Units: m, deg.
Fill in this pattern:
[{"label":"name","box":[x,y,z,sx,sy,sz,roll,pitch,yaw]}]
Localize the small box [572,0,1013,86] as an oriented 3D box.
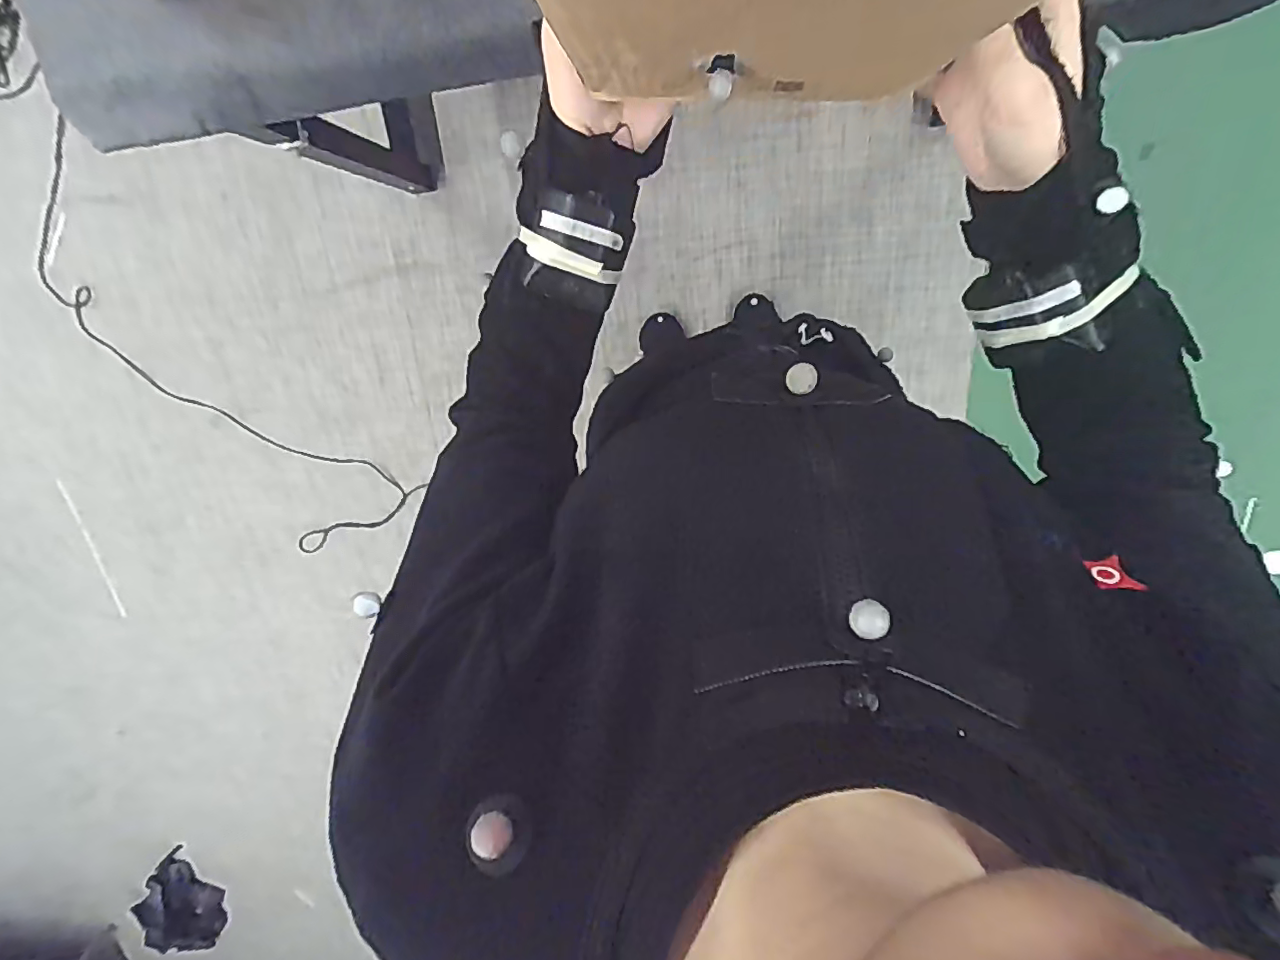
[{"label":"small box","box":[0.051,-0.256,0.178,0.168,0.176,0.179,2,116,3]}]
